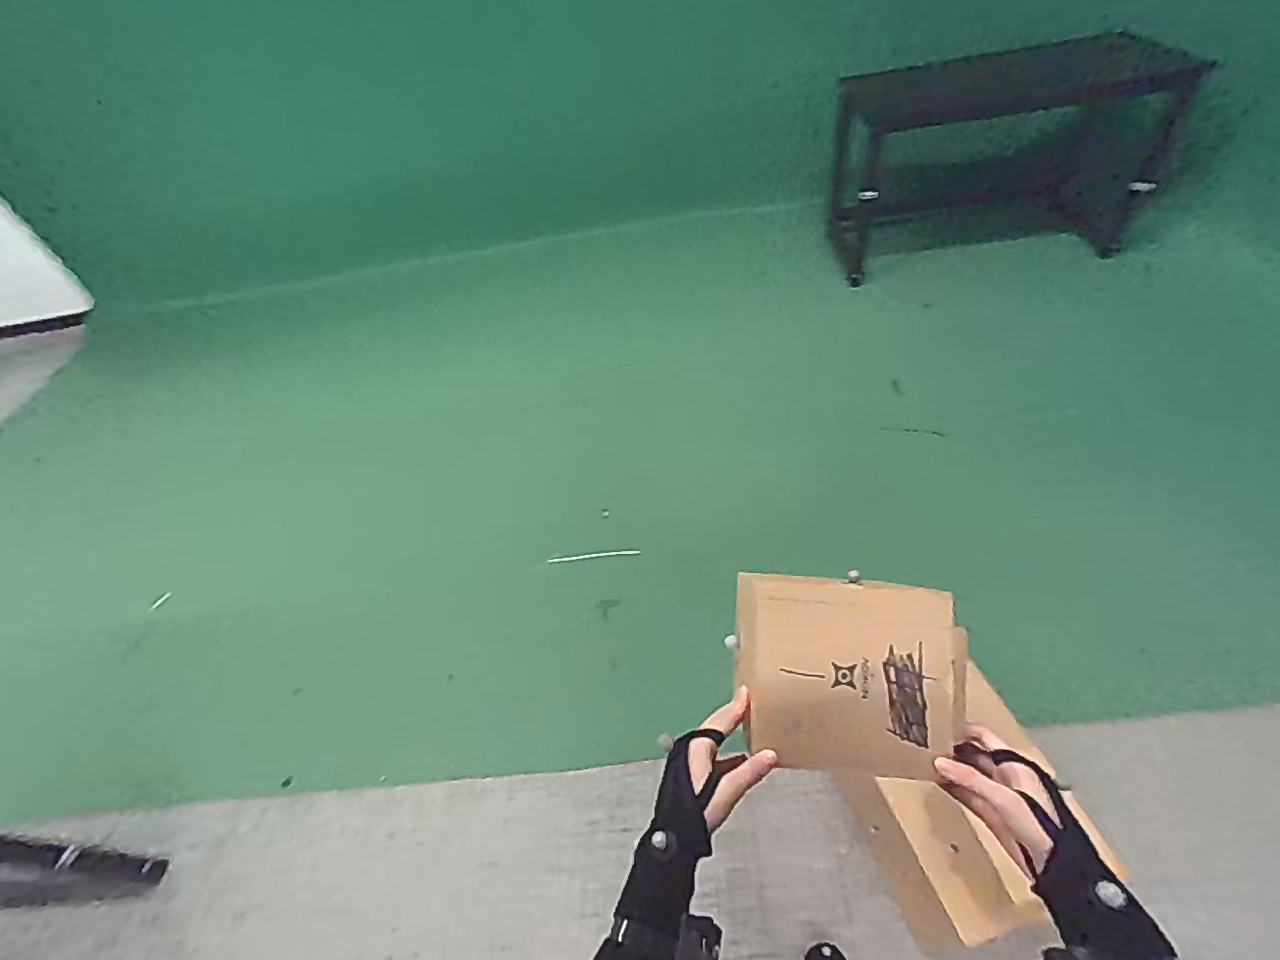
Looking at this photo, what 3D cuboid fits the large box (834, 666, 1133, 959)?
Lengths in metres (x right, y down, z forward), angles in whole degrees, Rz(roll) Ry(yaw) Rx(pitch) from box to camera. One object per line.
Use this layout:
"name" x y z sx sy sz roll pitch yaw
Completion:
"large box" 0.637 0.675 1.114 0.320 0.320 0.408 -17 46 -5

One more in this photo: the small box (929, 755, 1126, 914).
"small box" 0.605 0.576 0.875 0.168 0.176 0.179 -15 48 -1

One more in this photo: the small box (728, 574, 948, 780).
"small box" 0.191 0.188 0.564 0.179 0.176 0.168 3 82 4
